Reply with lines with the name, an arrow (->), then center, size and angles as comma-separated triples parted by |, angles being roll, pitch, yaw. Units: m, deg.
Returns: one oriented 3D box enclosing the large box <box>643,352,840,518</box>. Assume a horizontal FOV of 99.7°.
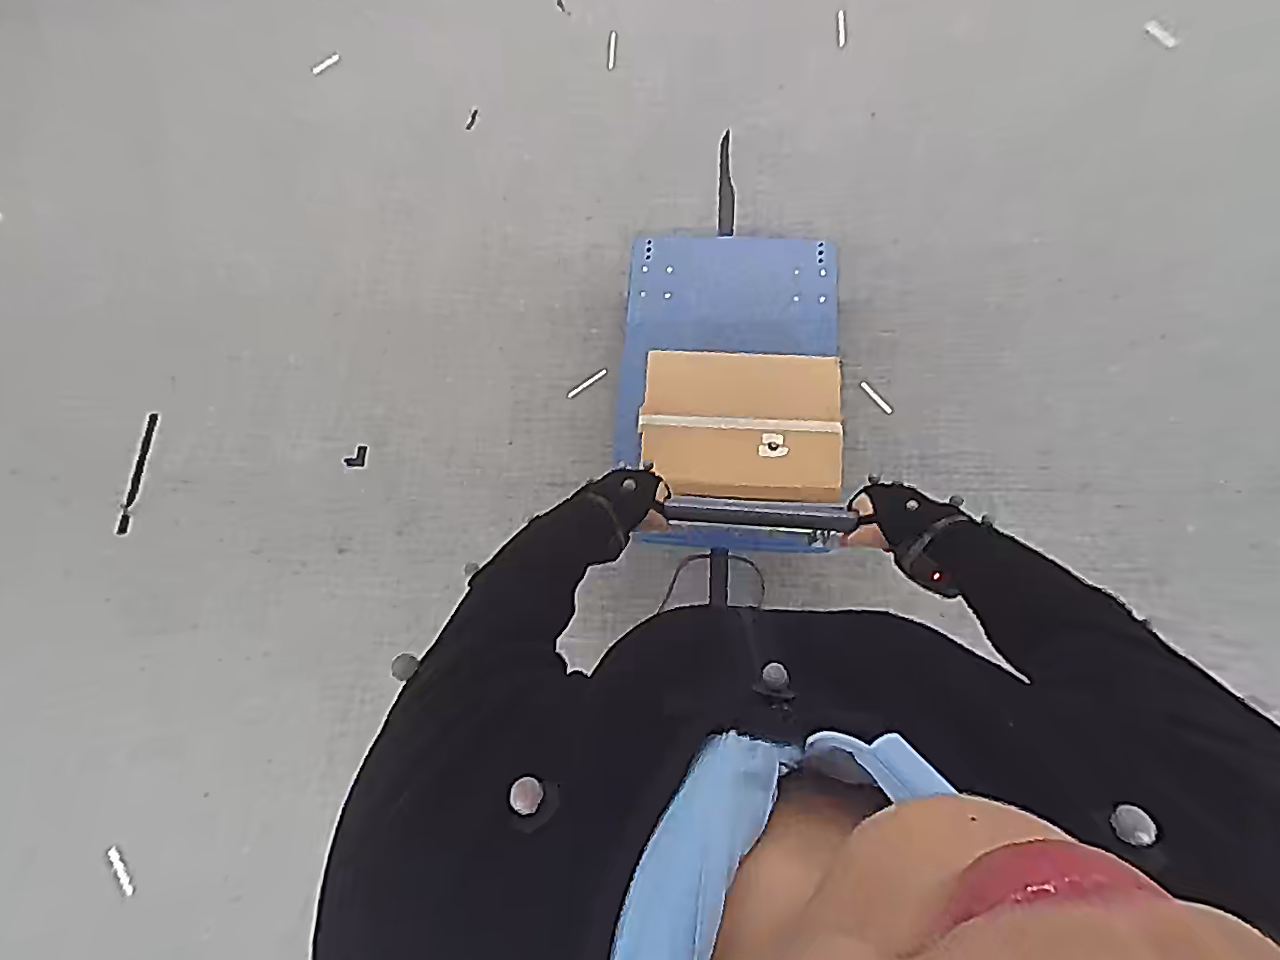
large box -> 0.218, -0.090, 1.271 | 0.408, 0.320, 0.320 | 3, 79, 4
